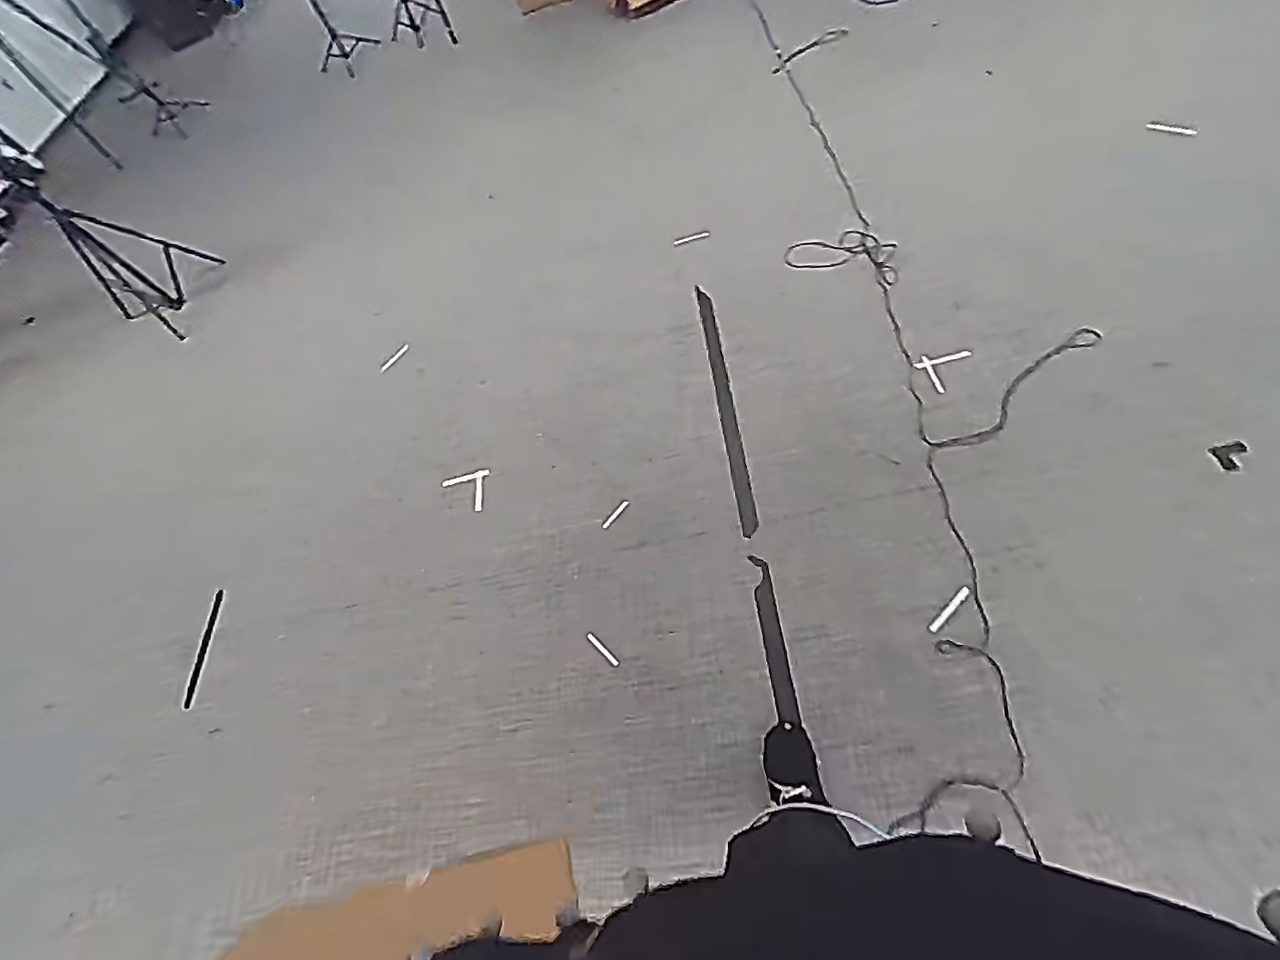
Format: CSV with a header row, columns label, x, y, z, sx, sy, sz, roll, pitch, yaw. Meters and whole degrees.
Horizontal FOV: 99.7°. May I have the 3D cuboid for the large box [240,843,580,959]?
label,x,y,z,sx,sy,sz,roll,pitch,yaw
large box,-0.167,0.576,0.394,0.320,0.320,0.408,-8,74,-16
